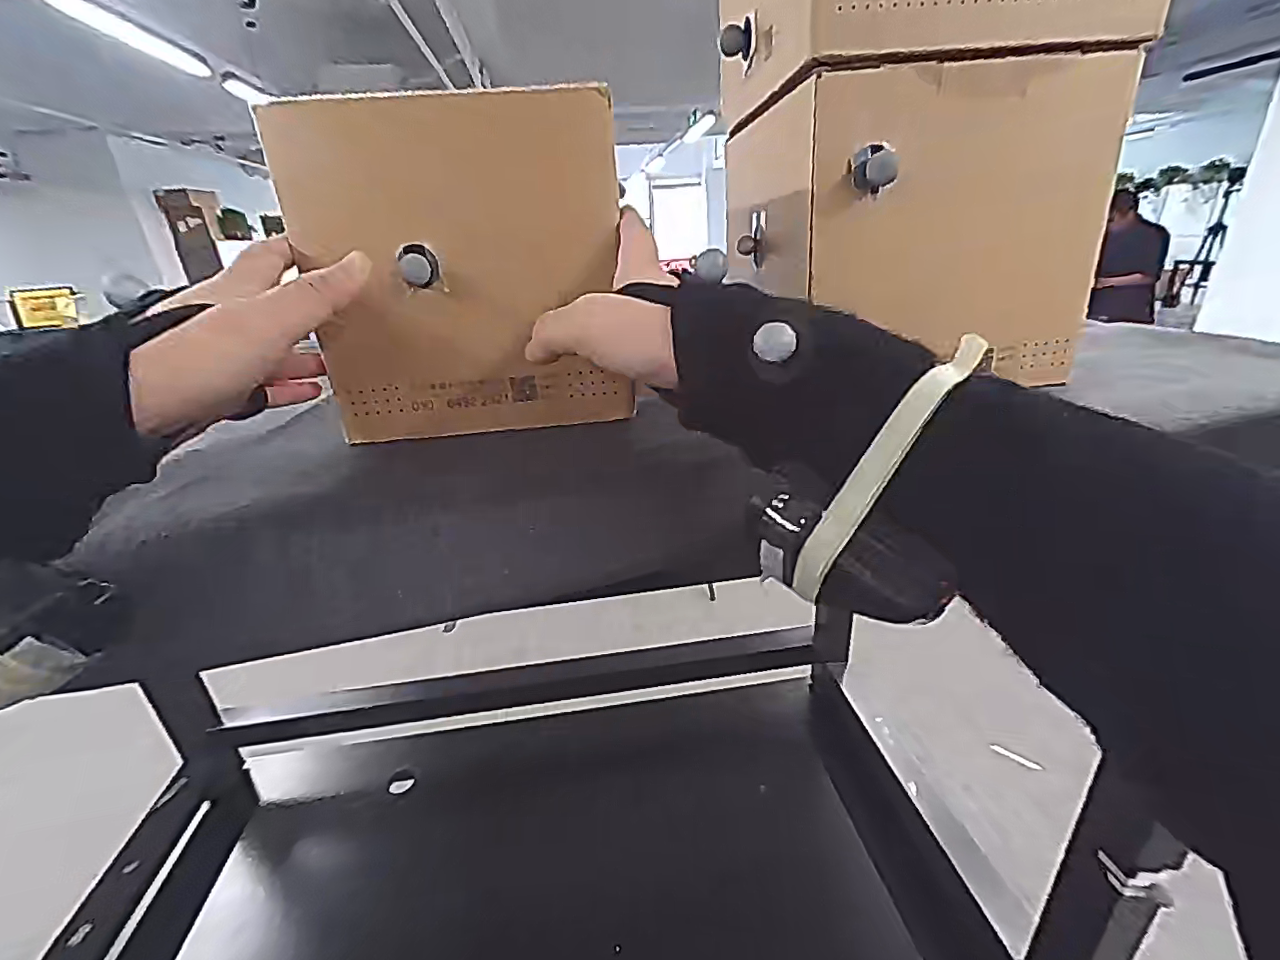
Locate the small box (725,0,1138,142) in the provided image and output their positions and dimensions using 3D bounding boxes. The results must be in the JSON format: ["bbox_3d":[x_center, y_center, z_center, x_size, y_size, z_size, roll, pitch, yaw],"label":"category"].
[{"bbox_3d":[0.147,-0.299,0.295,0.179,0.176,0.168,-7,21,-4],"label":"small box"}]

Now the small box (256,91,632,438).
[{"bbox_3d":[-0.098,-0.128,0.358,0.168,0.176,0.179,-6,22,-4],"label":"small box"}]
